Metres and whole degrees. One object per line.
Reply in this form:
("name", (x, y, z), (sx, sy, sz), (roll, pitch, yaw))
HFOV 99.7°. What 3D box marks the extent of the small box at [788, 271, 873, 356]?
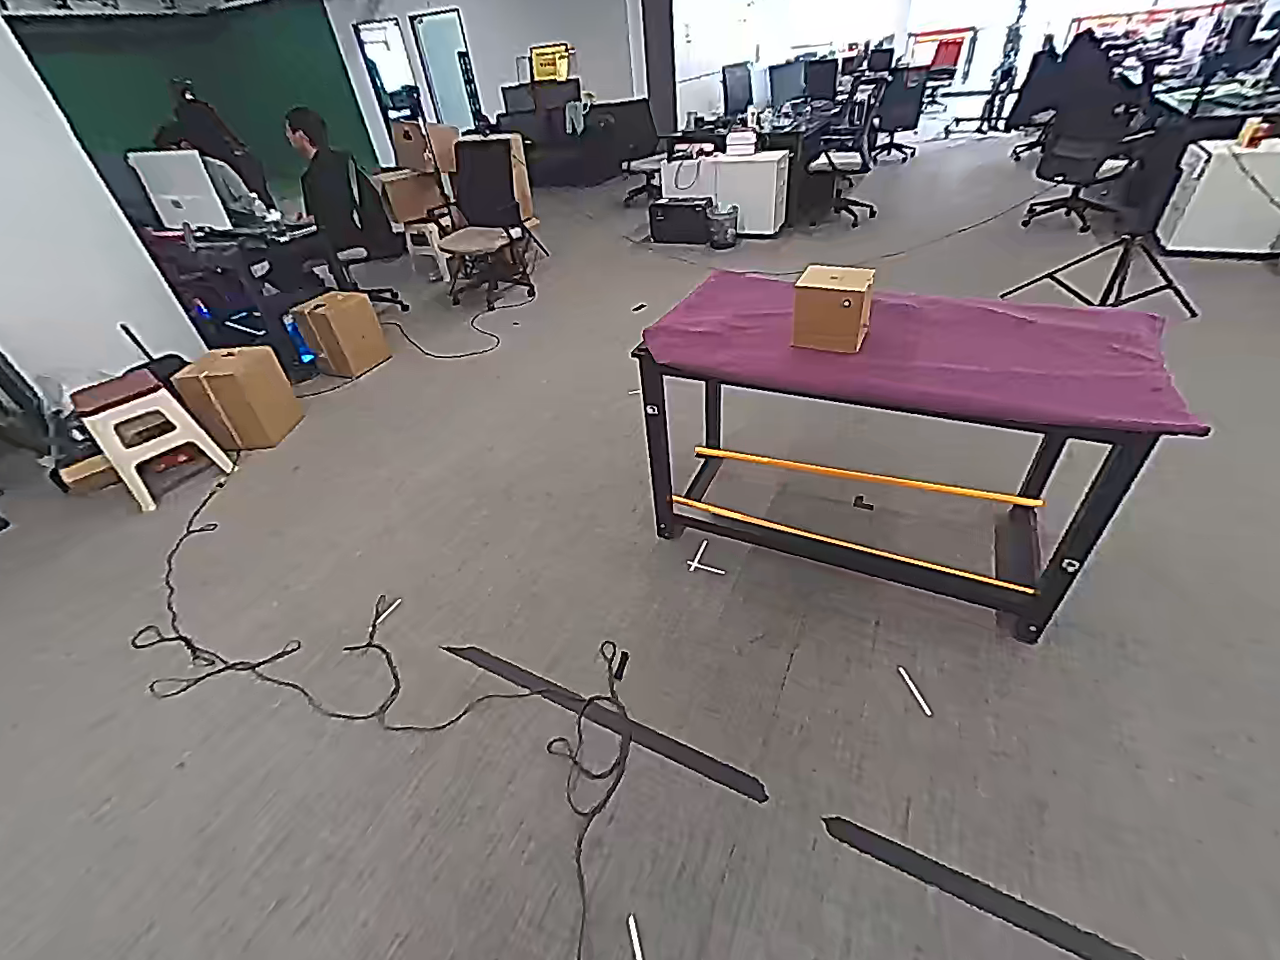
("small box", (0.507, -0.449, 1.453), (0.179, 0.176, 0.168), (14, 42, 23))
